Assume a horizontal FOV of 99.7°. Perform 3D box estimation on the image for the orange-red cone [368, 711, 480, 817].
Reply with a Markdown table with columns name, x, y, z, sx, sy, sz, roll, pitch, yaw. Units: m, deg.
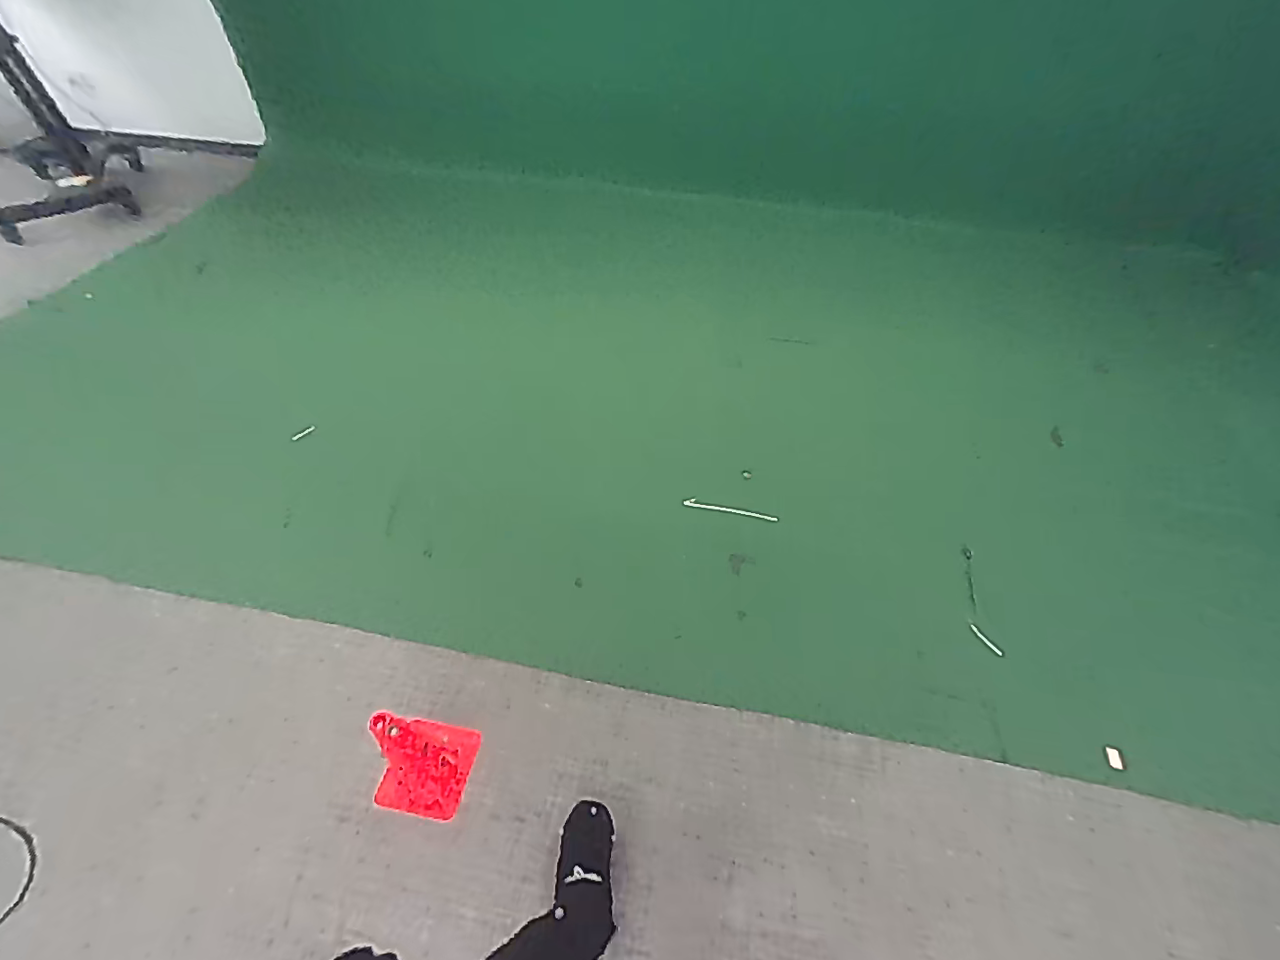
| name | x | y | z | sx | sy | sz | roll | pitch | yaw |
| --- | --- | --- | --- | --- | --- | --- | --- | --- | --- |
| orange-red cone | -0.509 | 0.582 | 1.181 | 0.198 | 0.360 | 0.199 | 9 | 51 | 7 |
